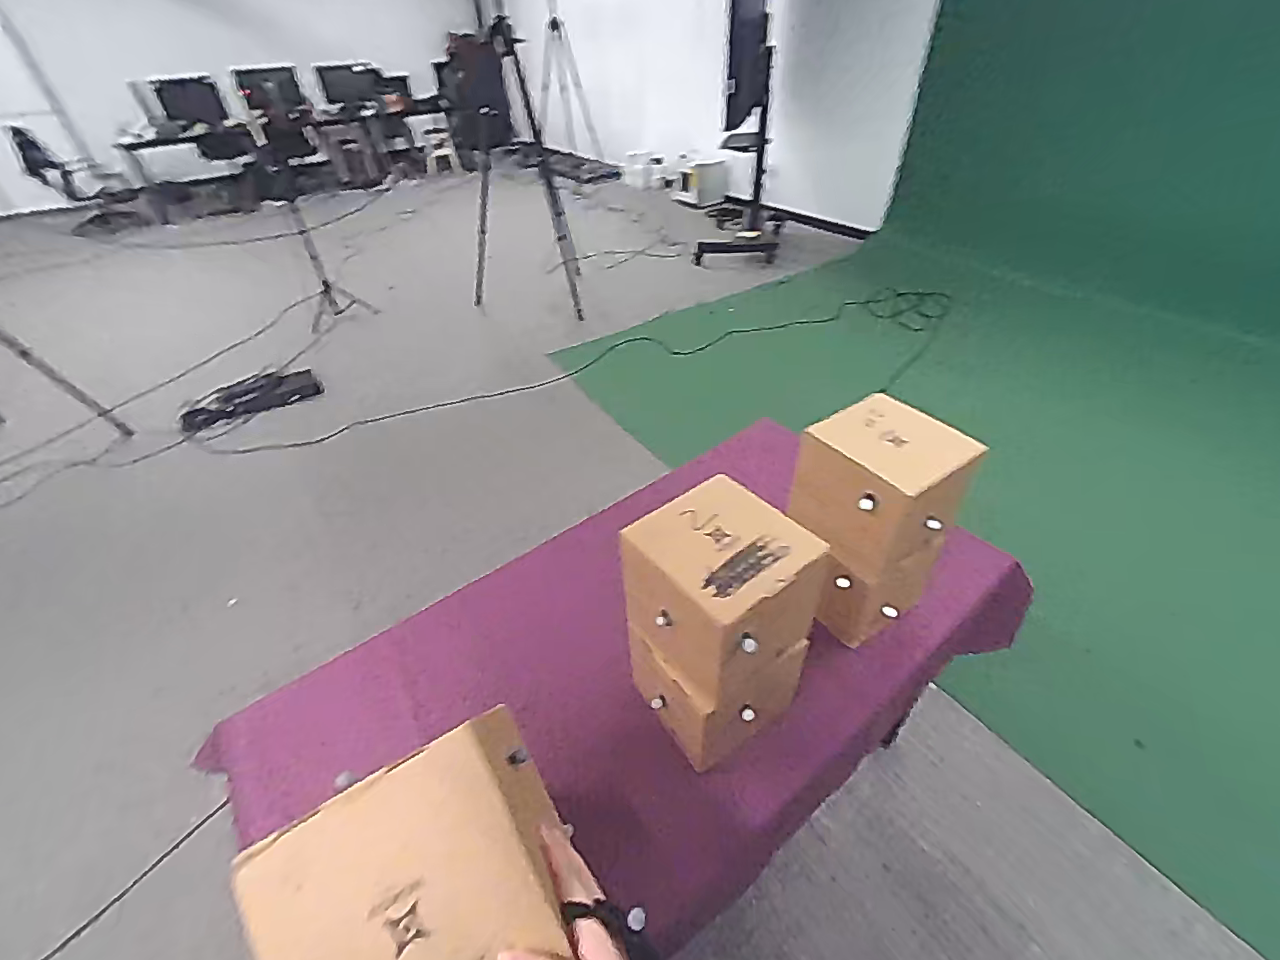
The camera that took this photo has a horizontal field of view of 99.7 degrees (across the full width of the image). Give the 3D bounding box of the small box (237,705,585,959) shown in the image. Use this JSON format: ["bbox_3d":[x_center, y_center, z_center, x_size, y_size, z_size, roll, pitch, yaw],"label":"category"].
[{"bbox_3d":[-0.154,0.295,0.421,0.168,0.176,0.179,-28,78,-11],"label":"small box"}]

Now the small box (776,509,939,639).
[{"bbox_3d":[0.351,0.129,0.907,0.168,0.176,0.179,-24,46,-23],"label":"small box"}]

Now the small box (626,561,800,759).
[{"bbox_3d":[0.101,0.257,0.772,0.179,0.176,0.168,-25,45,-23],"label":"small box"}]

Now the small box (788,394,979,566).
[{"bbox_3d":[0.345,0.004,0.800,0.168,0.176,0.179,-25,45,-24],"label":"small box"}]
